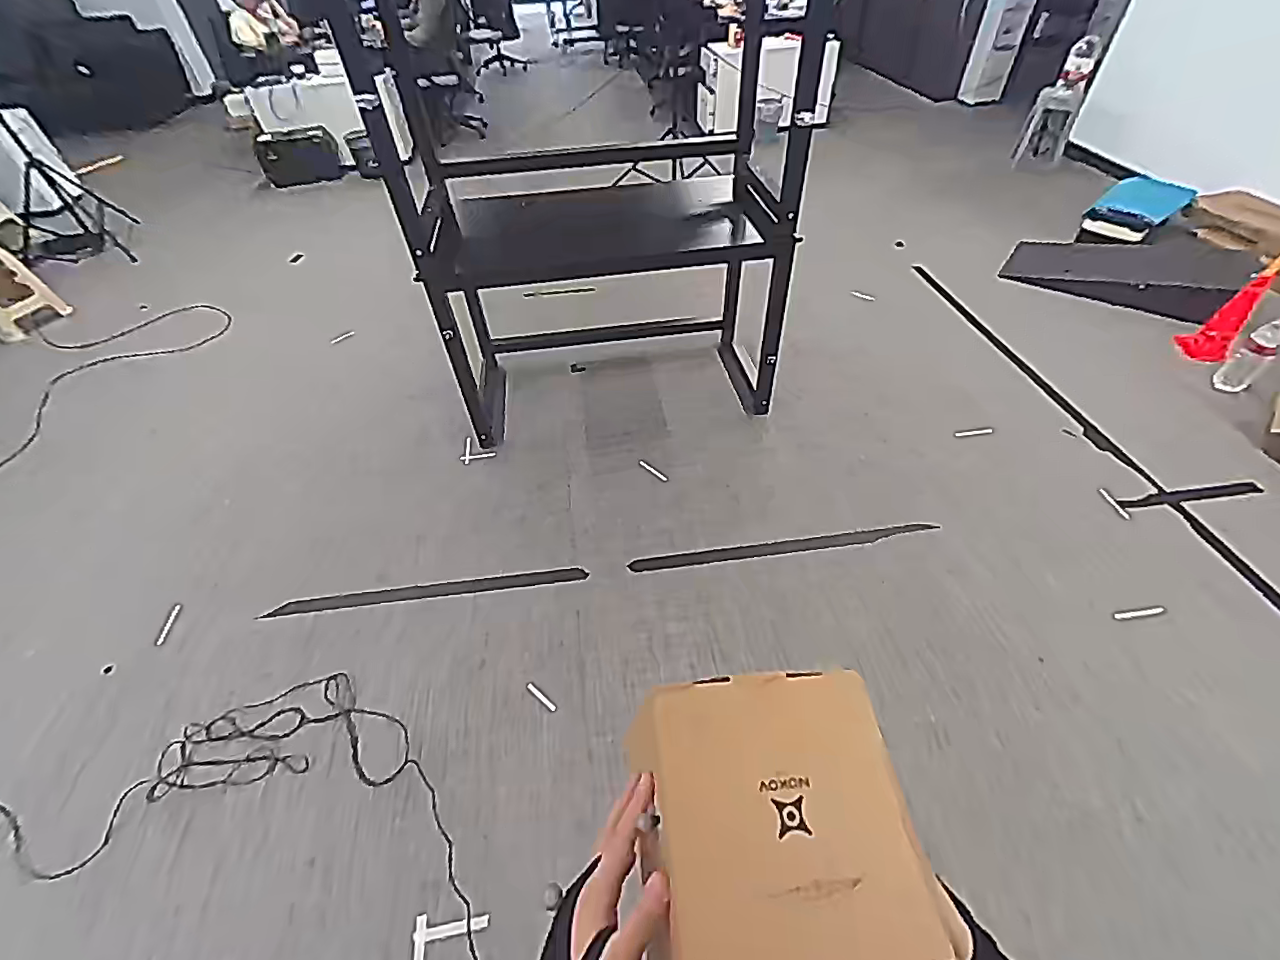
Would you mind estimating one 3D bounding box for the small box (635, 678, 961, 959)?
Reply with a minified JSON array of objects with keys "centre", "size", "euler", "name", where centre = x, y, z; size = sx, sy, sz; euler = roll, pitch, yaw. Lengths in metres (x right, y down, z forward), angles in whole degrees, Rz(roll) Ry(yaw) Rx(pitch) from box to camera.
[{"centre":[0.092,0.269,0.416],"size":[0.168,0.176,0.179],"euler":[0,53,-9],"name":"small box"}]
